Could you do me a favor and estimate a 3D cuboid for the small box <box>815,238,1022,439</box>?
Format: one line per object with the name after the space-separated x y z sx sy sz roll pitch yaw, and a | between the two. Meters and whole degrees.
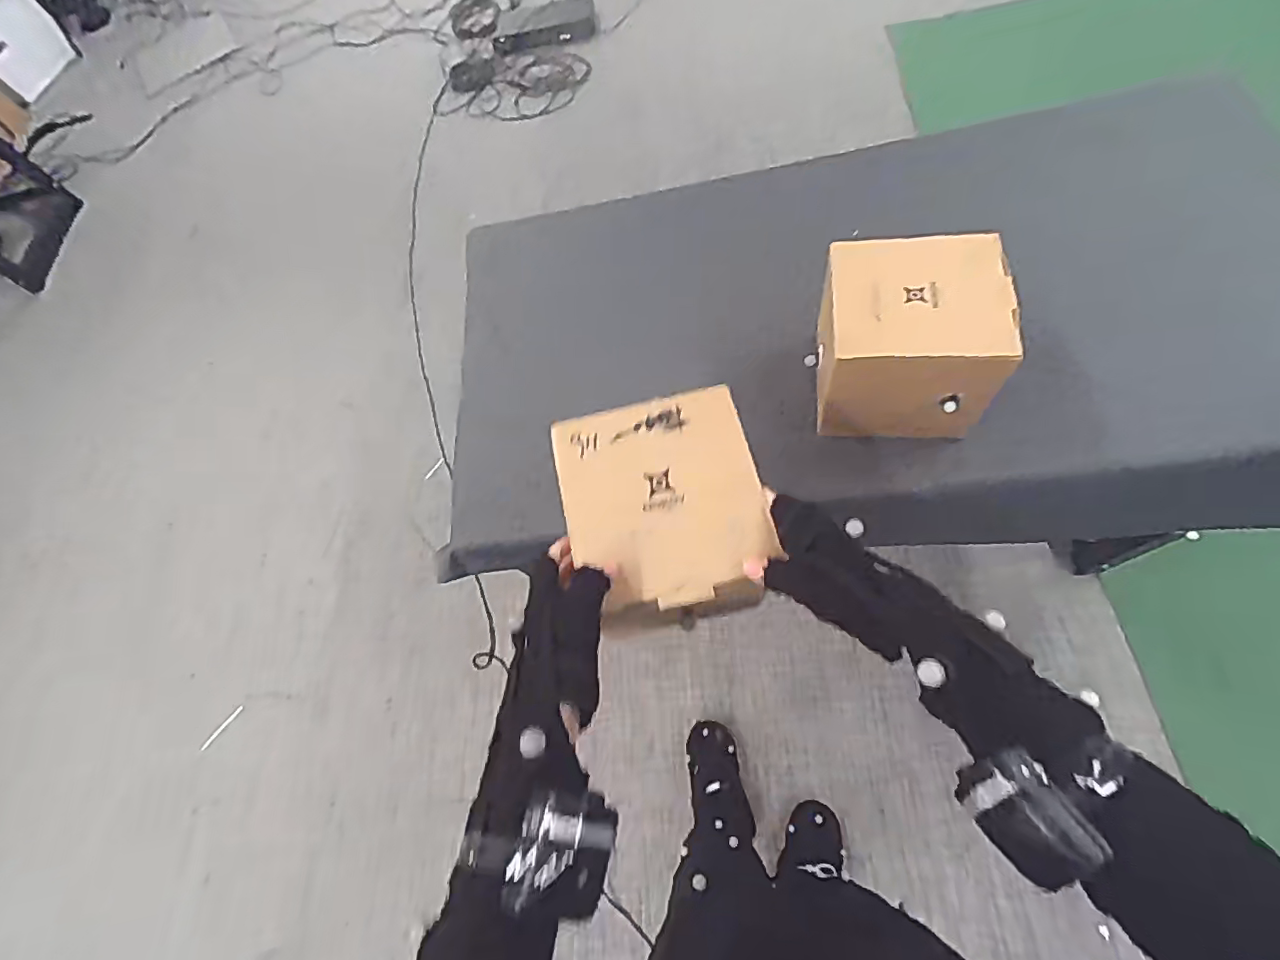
0.312 -0.160 0.647 0.179 0.176 0.168 1 65 12 | small box

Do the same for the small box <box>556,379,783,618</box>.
0.026 0.032 0.531 0.168 0.176 0.179 -12 68 -1 | small box
